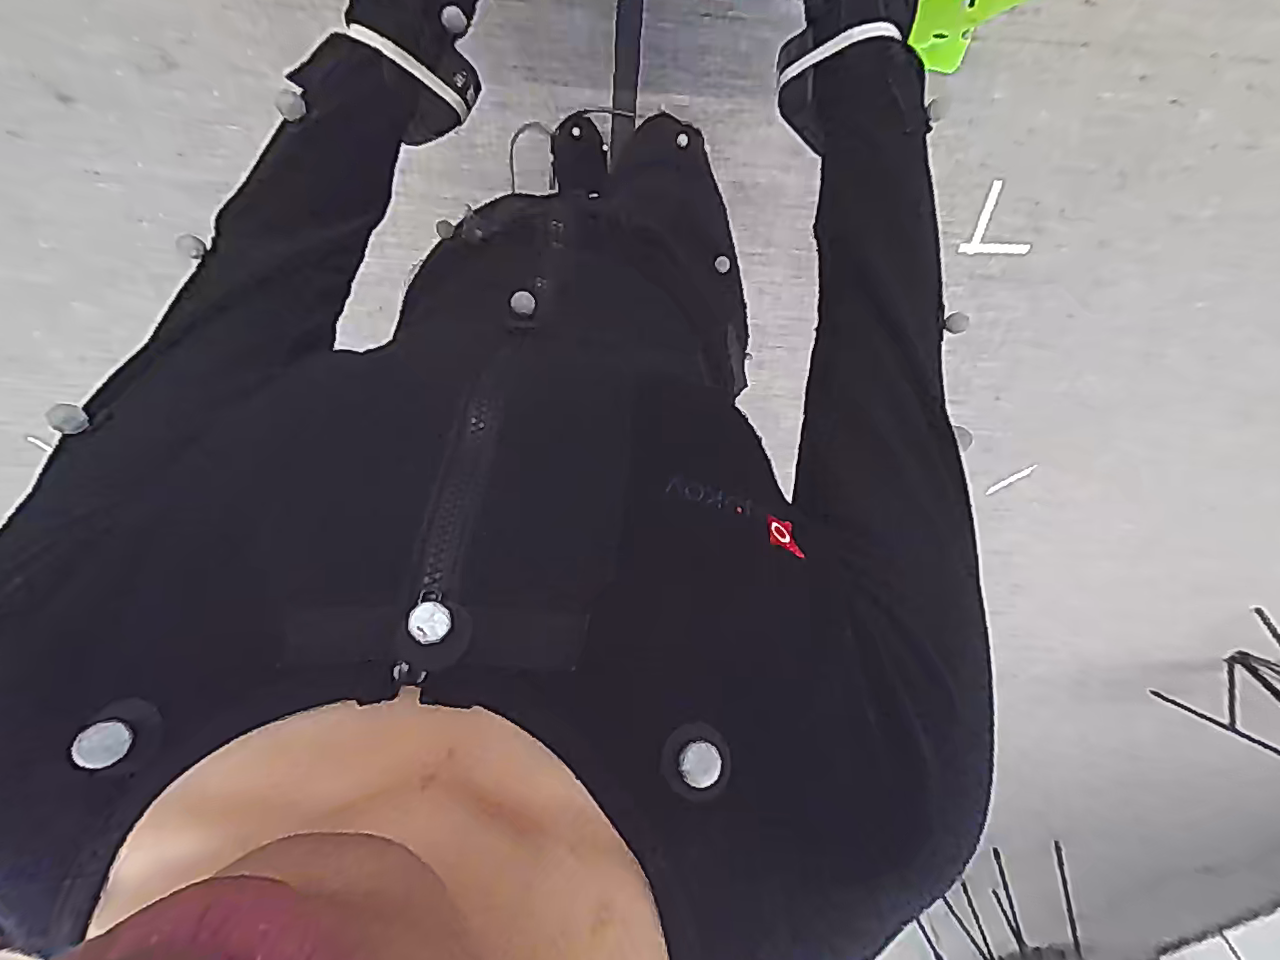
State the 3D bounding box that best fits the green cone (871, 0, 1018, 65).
[{"bbox_3d":[0.566,-0.817,0.885,0.202,0.368,0.200,5,127,-7],"label":"green cone"}]
